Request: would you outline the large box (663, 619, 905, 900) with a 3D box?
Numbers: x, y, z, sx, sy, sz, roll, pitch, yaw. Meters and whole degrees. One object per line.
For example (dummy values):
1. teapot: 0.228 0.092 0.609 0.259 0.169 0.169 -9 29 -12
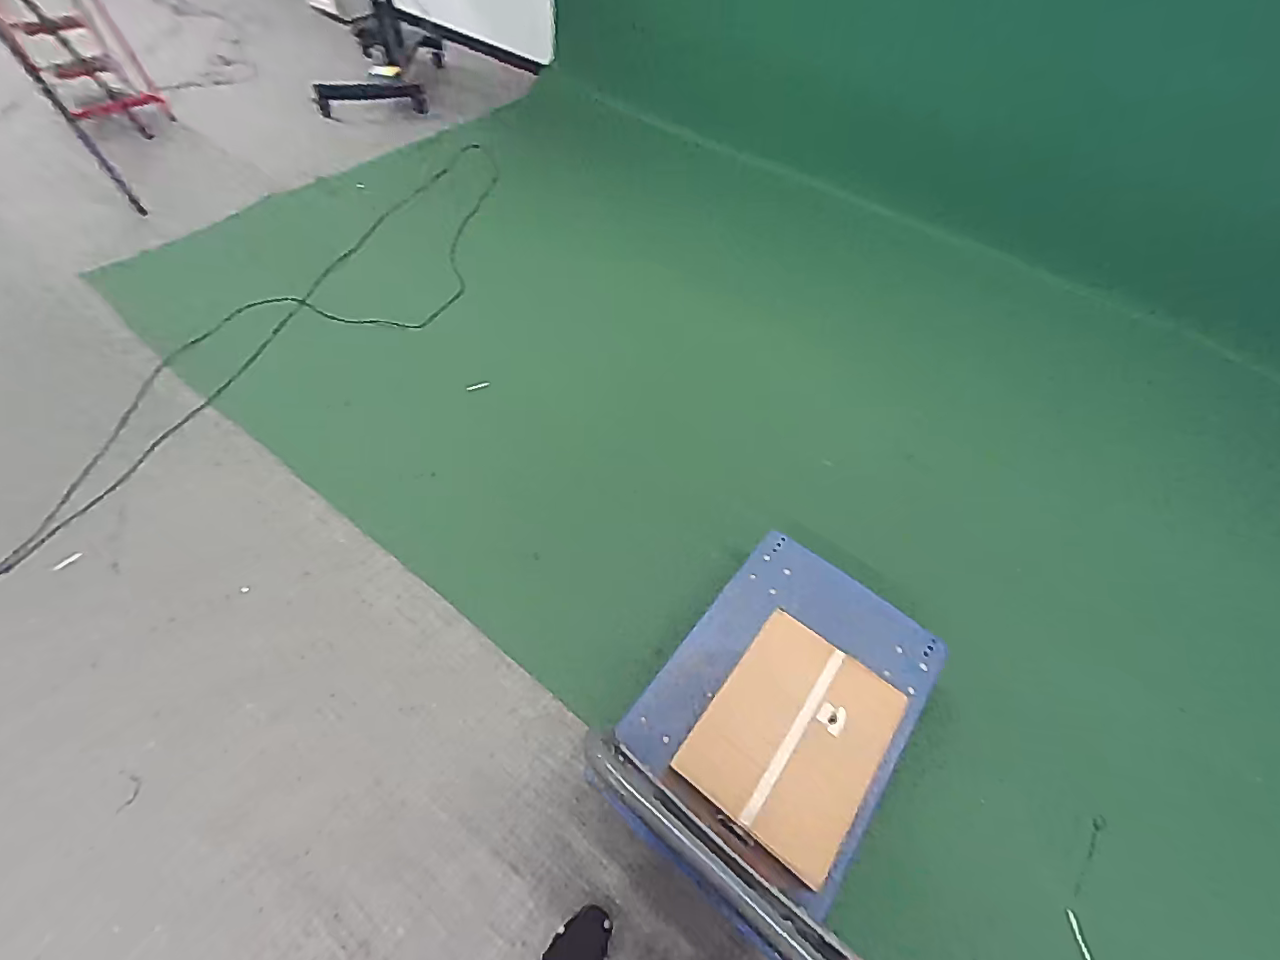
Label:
1. large box: 0.291 0.594 1.163 0.320 0.320 0.408 35 59 19
